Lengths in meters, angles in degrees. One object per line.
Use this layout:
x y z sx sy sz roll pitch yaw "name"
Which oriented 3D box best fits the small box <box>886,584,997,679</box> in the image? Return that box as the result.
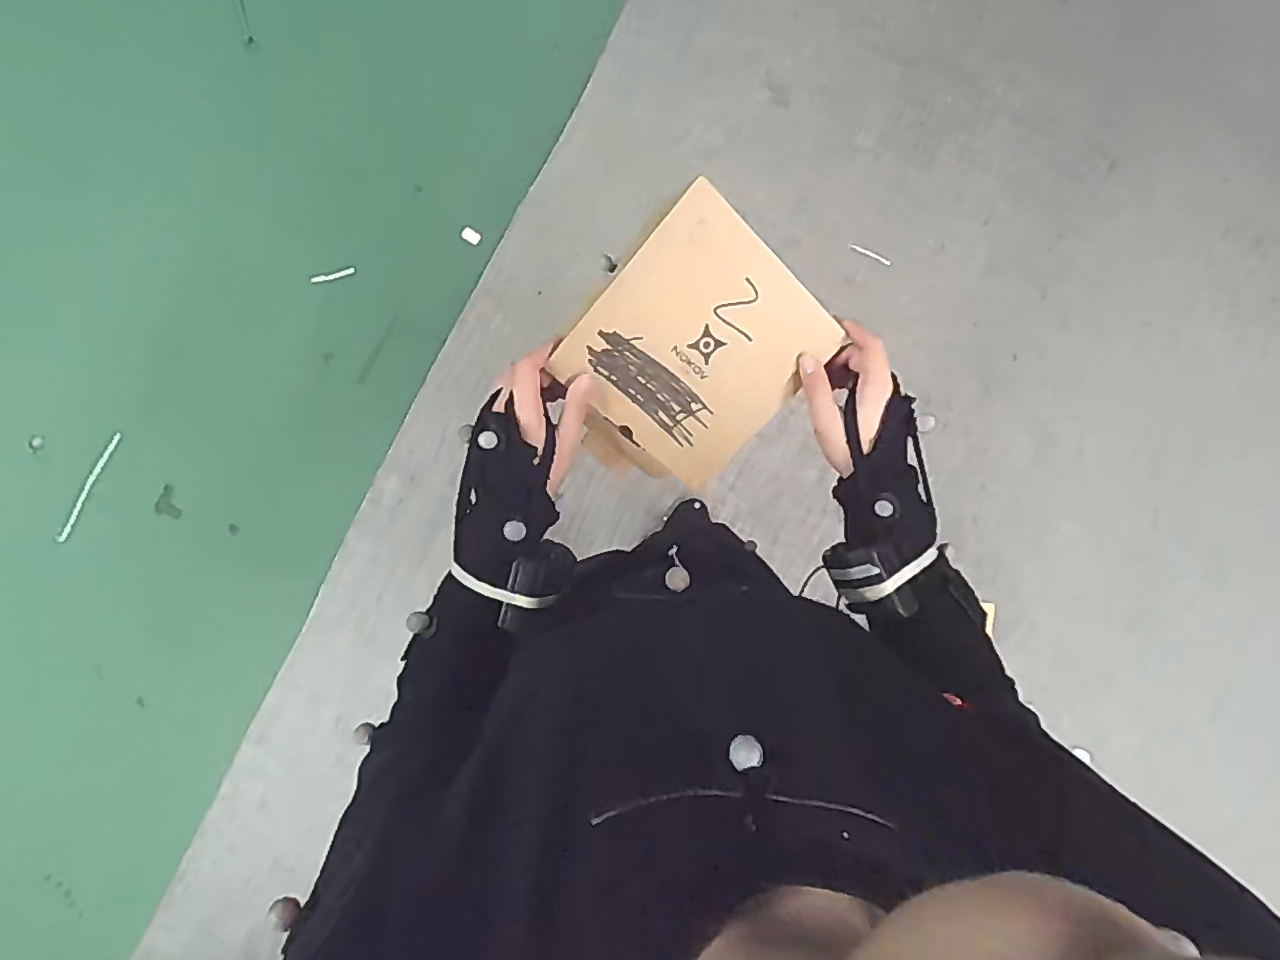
0.709 0.352 1.288 0.168 0.176 0.179 7 89 0 "small box"
